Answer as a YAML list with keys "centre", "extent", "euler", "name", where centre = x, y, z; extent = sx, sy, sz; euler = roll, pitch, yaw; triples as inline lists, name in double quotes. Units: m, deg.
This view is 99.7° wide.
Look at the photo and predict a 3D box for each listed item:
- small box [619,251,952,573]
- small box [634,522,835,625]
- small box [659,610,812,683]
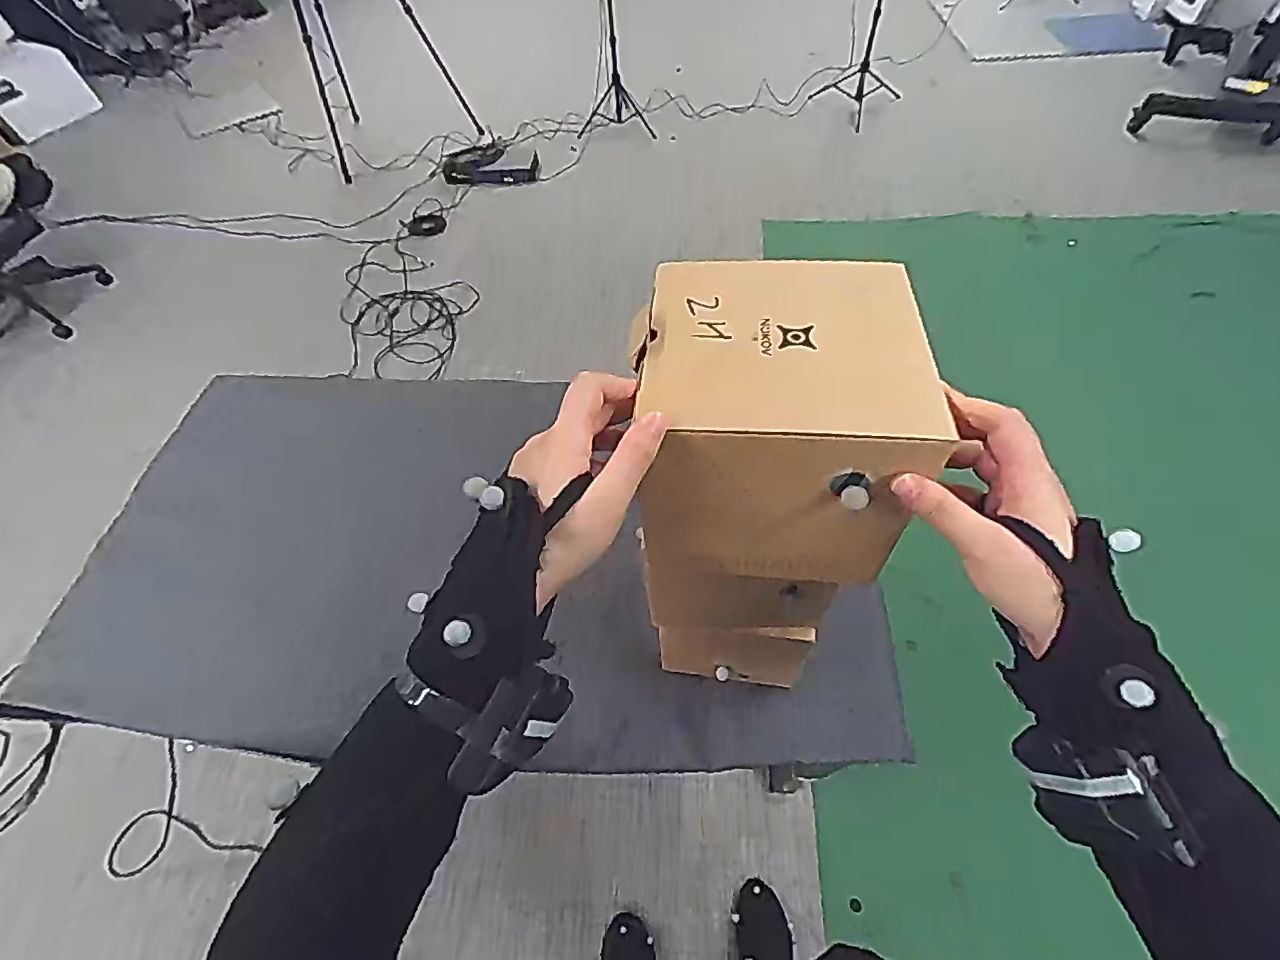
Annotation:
- centre: [0.090, -0.044, 0.395]
  extent: [0.179, 0.176, 0.168]
  euler: [2, 53, 8]
  name: "small box"
- centre: [0.091, 0.036, 0.541]
  extent: [0.179, 0.176, 0.168]
  euler: [-2, 52, 6]
  name: "small box"
- centre: [0.115, 0.131, 0.671]
  extent: [0.168, 0.176, 0.179]
  euler: [5, 55, 10]
  name: "small box"
